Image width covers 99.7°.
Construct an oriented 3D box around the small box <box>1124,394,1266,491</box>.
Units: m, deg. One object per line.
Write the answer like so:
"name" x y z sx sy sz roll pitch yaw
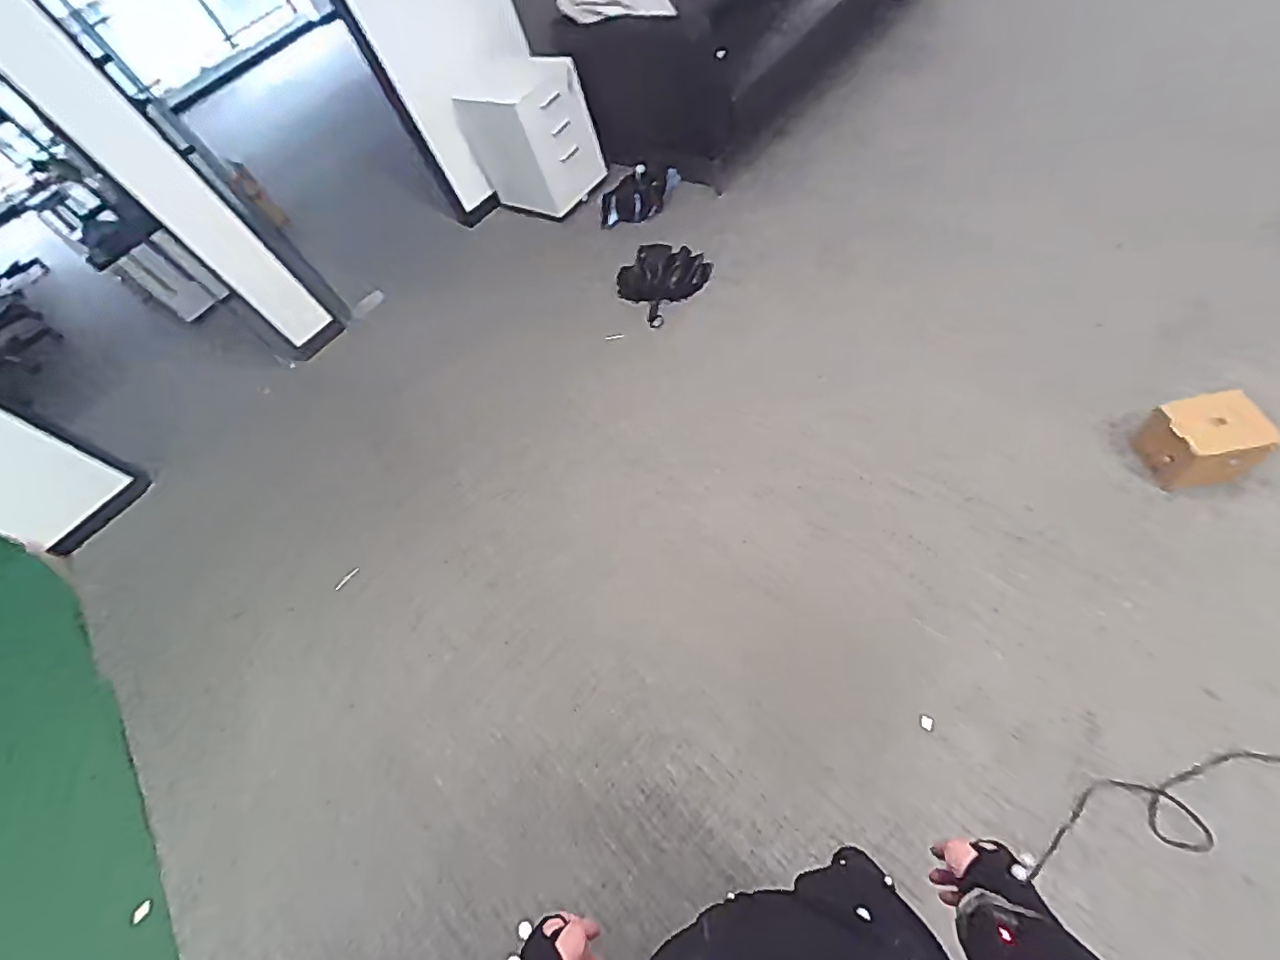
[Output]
"small box" 1.401 -0.091 1.387 0.179 0.176 0.168 -12 55 10
